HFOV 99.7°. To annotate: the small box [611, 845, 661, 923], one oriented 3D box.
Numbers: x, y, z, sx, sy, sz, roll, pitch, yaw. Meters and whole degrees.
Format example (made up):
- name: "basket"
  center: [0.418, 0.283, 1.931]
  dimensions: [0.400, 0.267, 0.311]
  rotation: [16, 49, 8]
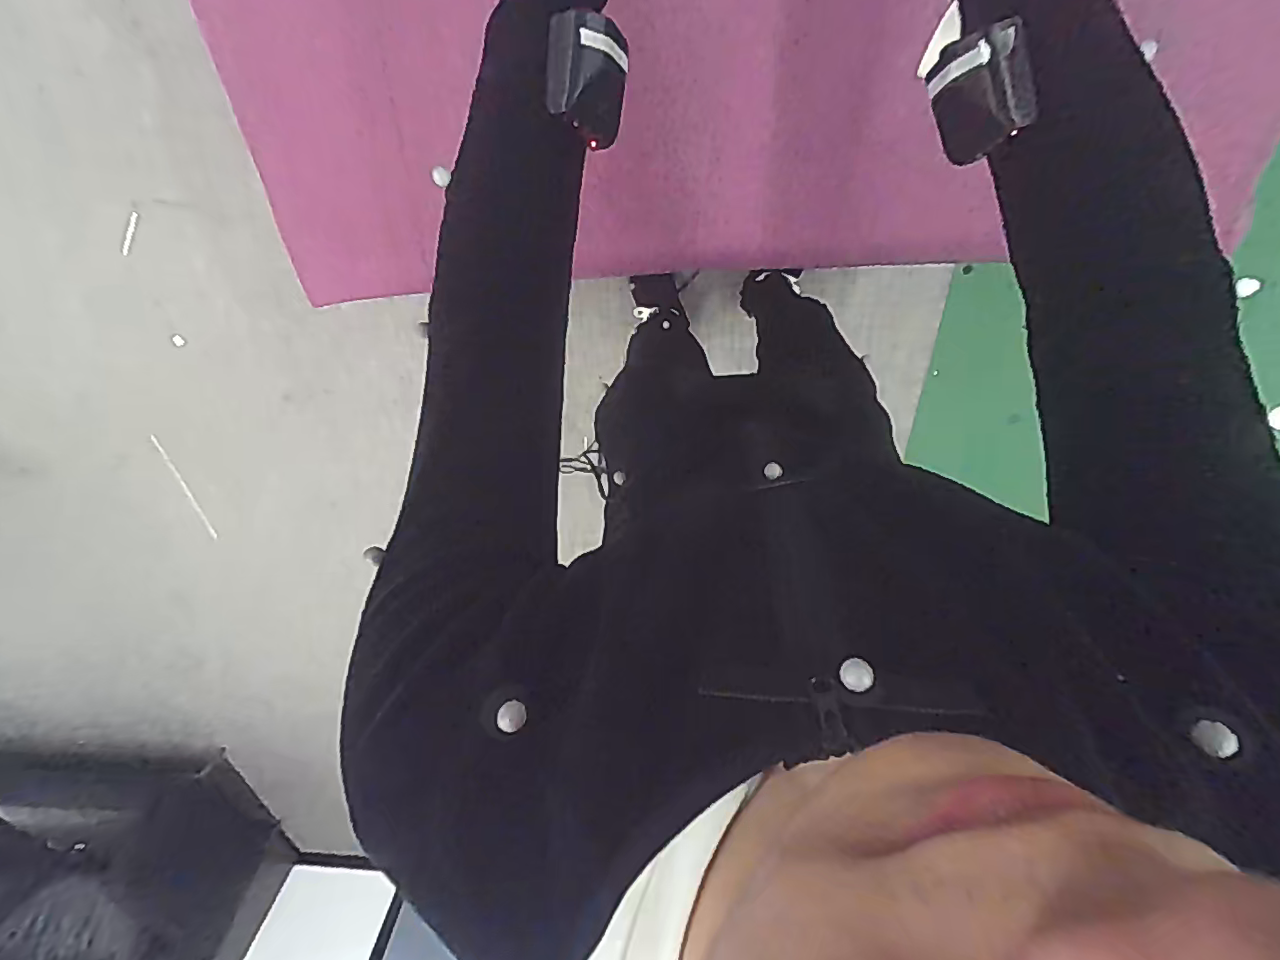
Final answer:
- name: "small box"
  center: [-0.012, 1.472, 1.975]
  dimensions: [0.168, 0.176, 0.179]
  rotation: [3, 122, 5]
